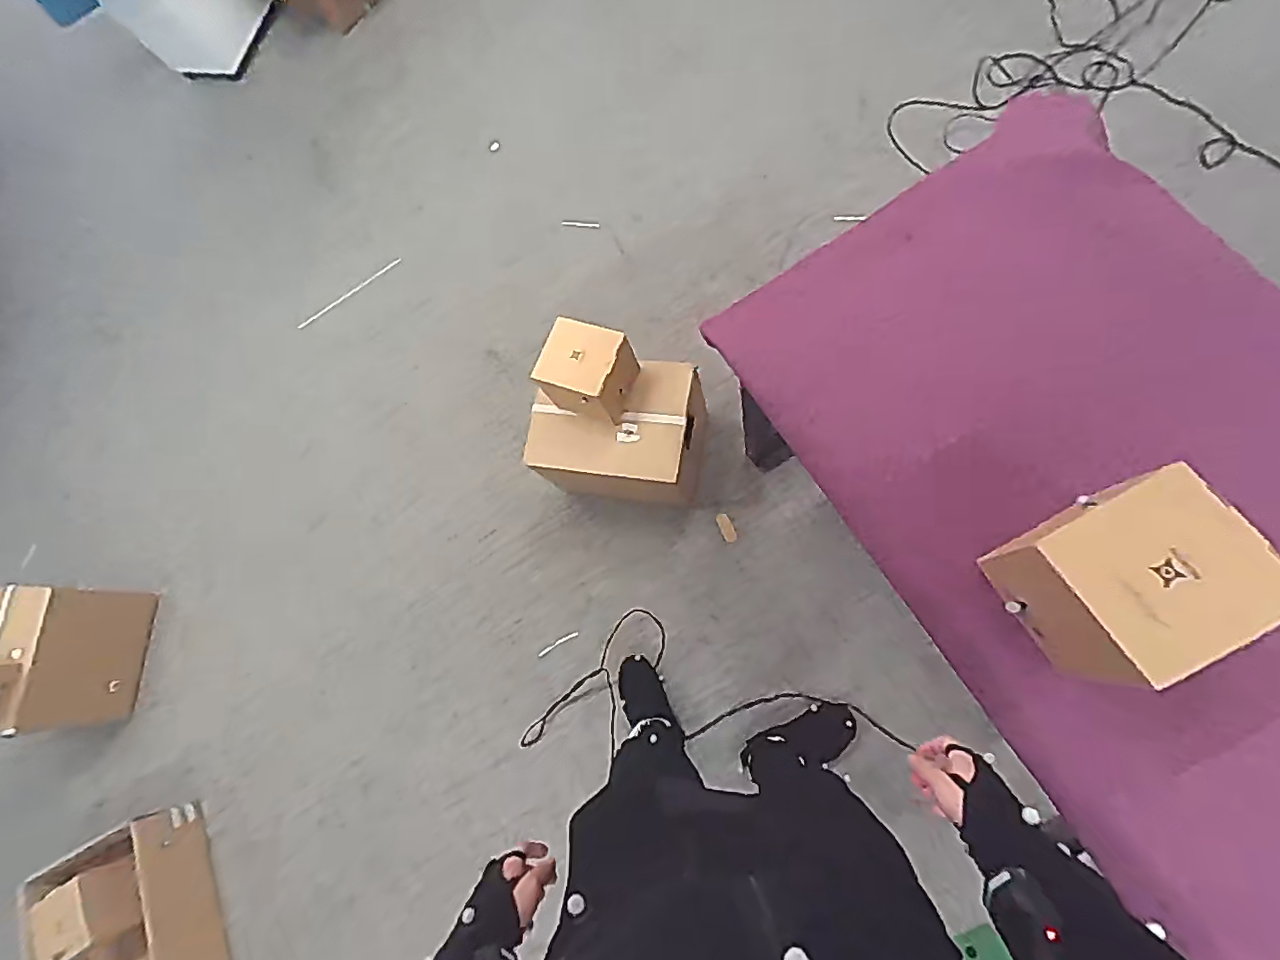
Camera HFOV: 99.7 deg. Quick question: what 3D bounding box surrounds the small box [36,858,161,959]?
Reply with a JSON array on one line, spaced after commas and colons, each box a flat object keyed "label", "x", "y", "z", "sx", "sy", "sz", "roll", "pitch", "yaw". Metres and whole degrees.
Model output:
[{"label": "small box", "x": -1.479, "y": 1.183, "z": 1.485, "sx": 0.168, "sy": 0.176, "sz": 0.179, "roll": -35, "pitch": 71, "yaw": 1}]

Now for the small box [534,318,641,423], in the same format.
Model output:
[{"label": "small box", "x": -0.116, "y": -0.254, "z": 1.283, "sx": 0.179, "sy": 0.176, "sz": 0.168, "roll": 18, "pitch": 78, "yaw": 16}]

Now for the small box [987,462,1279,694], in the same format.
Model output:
[{"label": "small box", "x": 0.534, "y": 0.109, "z": 0.592, "sx": 0.179, "sy": 0.176, "sz": 0.168, "roll": -30, "pitch": 70, "yaw": 3}]

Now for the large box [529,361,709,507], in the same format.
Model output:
[{"label": "large box", "x": -0.038, "y": -0.124, "z": 1.489, "sx": 0.408, "sy": 0.320, "sz": 0.320, "roll": 7, "pitch": 78, "yaw": 14}]
